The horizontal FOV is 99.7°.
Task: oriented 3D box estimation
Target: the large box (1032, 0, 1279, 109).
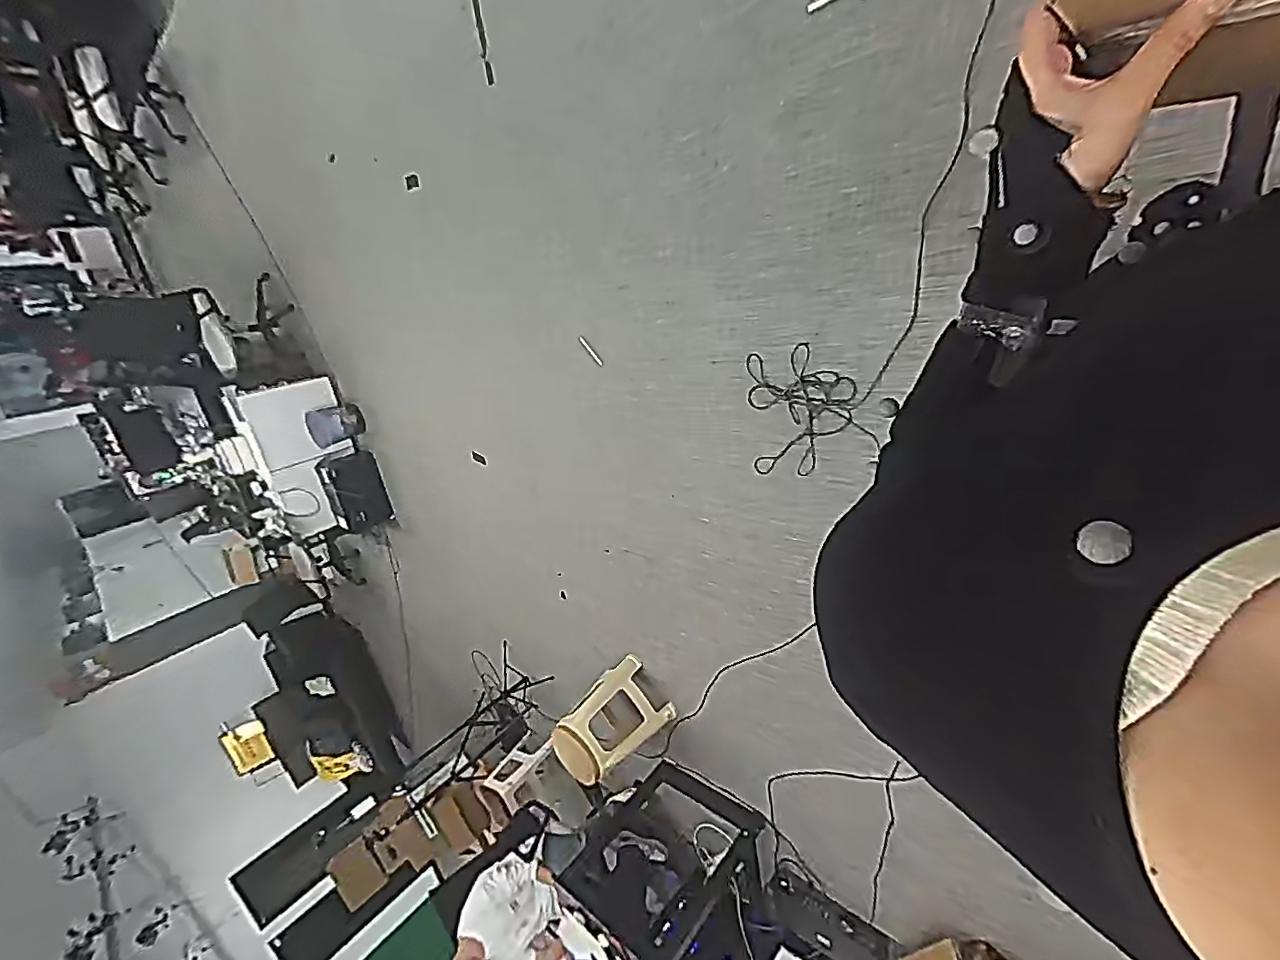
[{"bbox_3d":[0.378,-0.352,0.132,0.408,0.320,0.320,20,116,44],"label":"large box"}]
